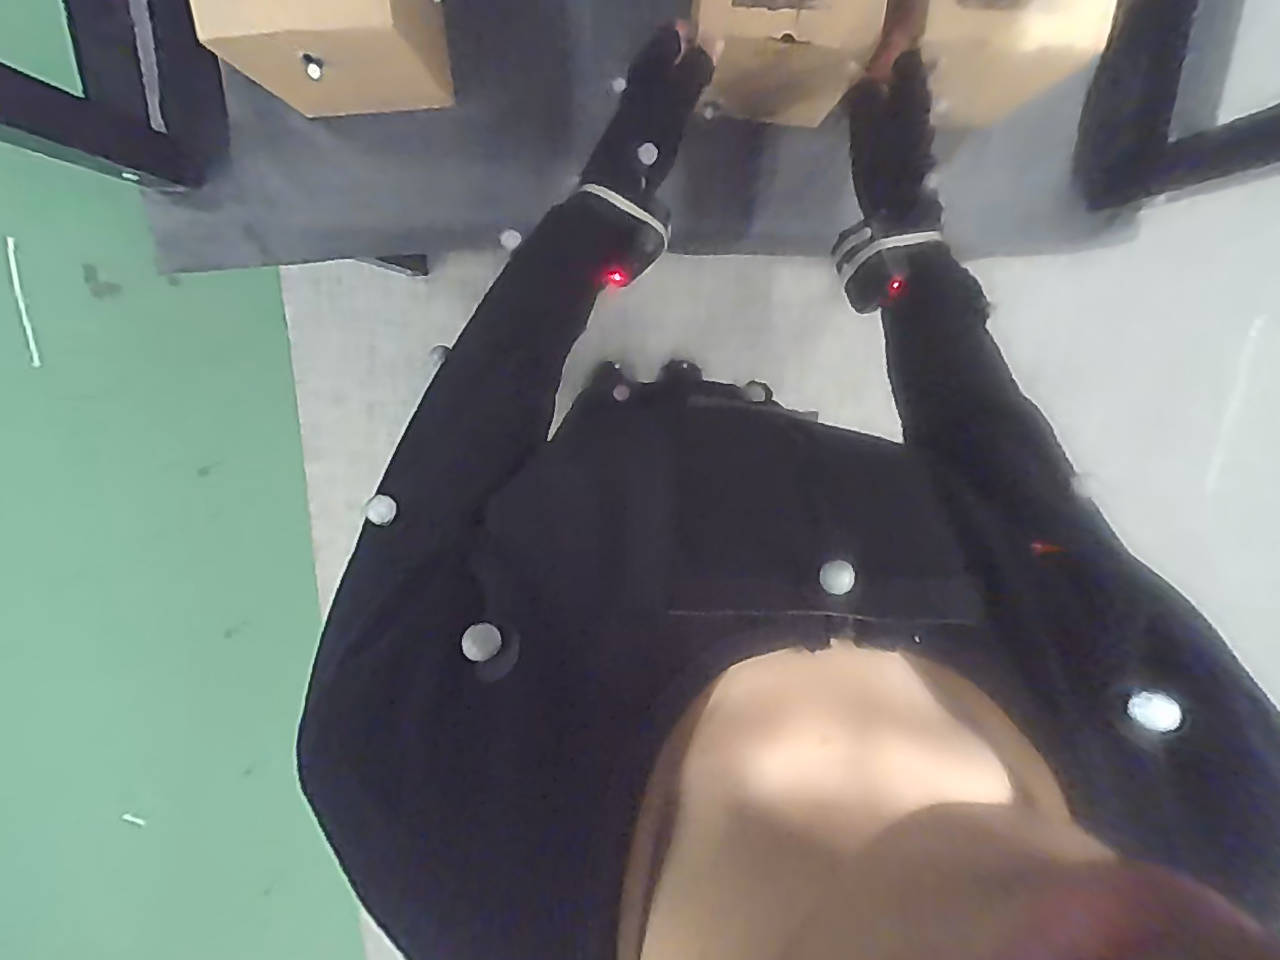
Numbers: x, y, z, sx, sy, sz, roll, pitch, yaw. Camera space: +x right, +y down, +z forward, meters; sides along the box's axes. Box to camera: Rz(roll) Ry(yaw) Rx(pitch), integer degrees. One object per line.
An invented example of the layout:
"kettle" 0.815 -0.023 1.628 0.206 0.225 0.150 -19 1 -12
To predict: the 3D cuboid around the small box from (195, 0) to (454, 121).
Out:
"small box" -0.308 -0.485 0.542 0.179 0.176 0.168 -4 104 0
